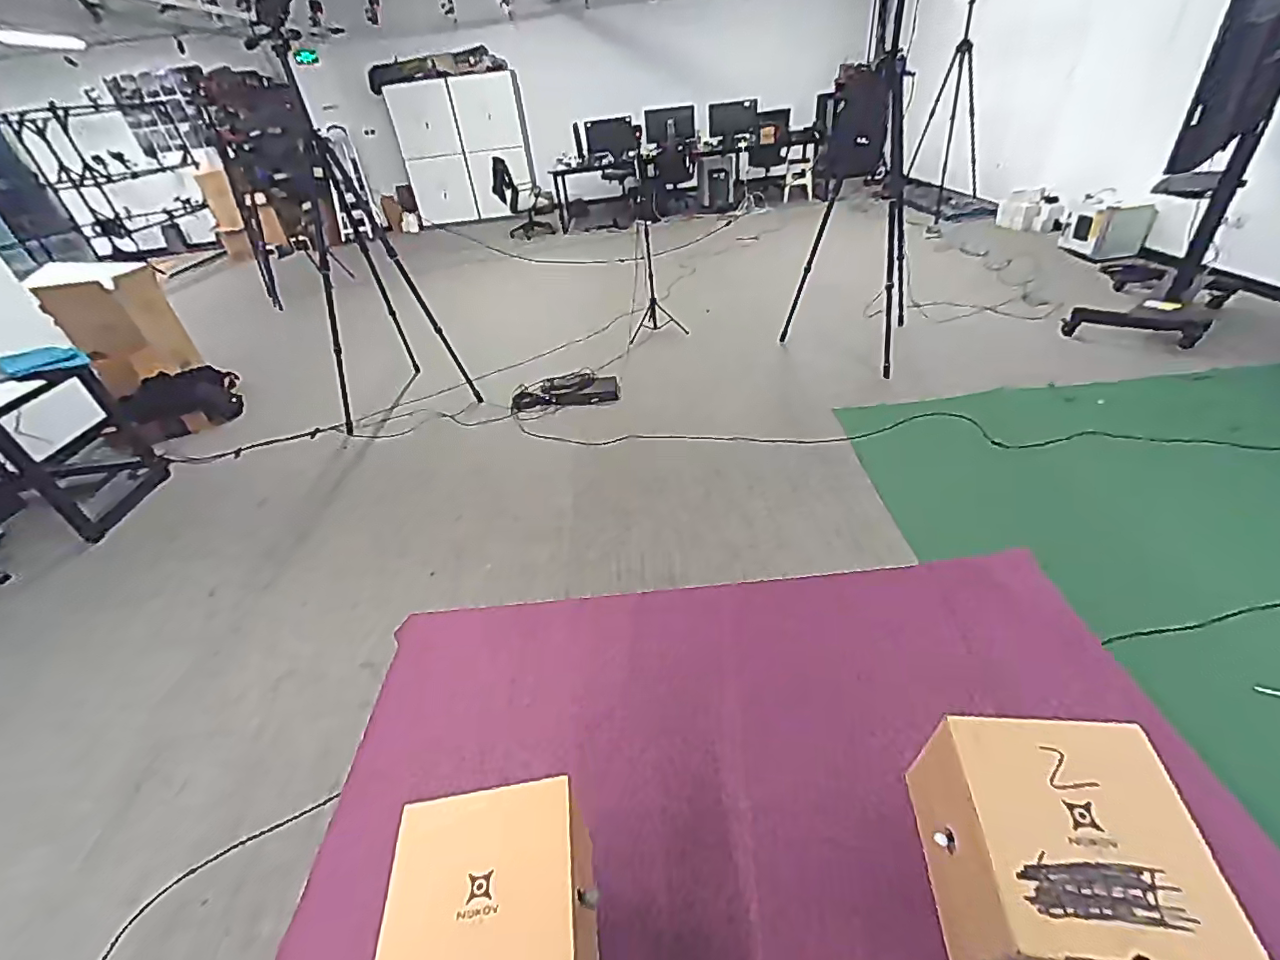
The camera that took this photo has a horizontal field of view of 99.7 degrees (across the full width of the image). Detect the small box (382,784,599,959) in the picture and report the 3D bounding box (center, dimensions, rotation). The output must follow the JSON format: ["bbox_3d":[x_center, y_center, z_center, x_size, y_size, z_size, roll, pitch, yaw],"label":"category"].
[{"bbox_3d":[-0.134,0.438,0.532,0.168,0.176,0.179,-9,37,-4],"label":"small box"}]
